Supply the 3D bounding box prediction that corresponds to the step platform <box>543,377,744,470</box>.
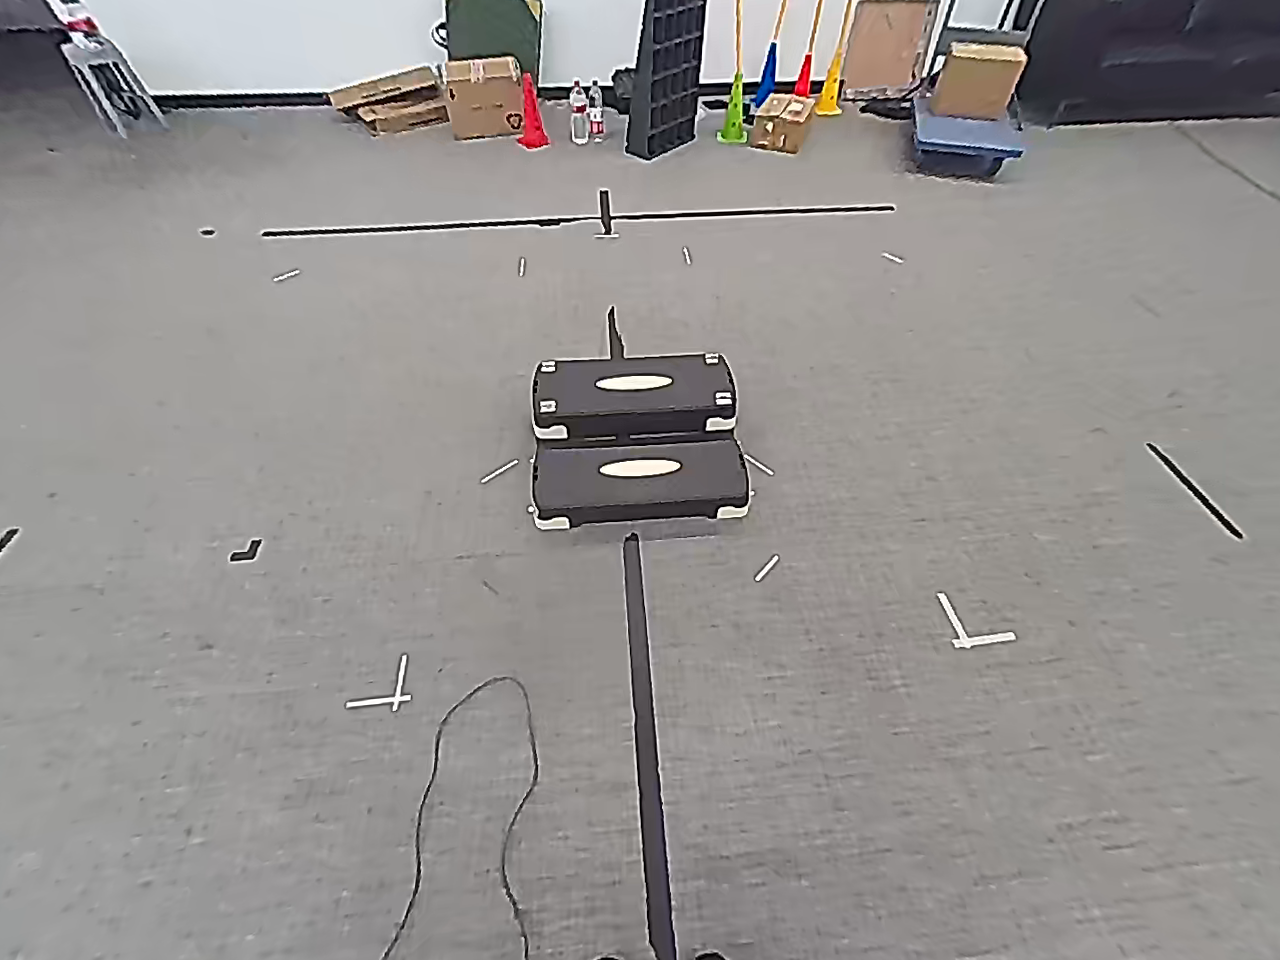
[{"bbox_3d":[0.010,-0.202,1.865,0.684,0.204,0.286,0,49,-1],"label":"step platform"}]
